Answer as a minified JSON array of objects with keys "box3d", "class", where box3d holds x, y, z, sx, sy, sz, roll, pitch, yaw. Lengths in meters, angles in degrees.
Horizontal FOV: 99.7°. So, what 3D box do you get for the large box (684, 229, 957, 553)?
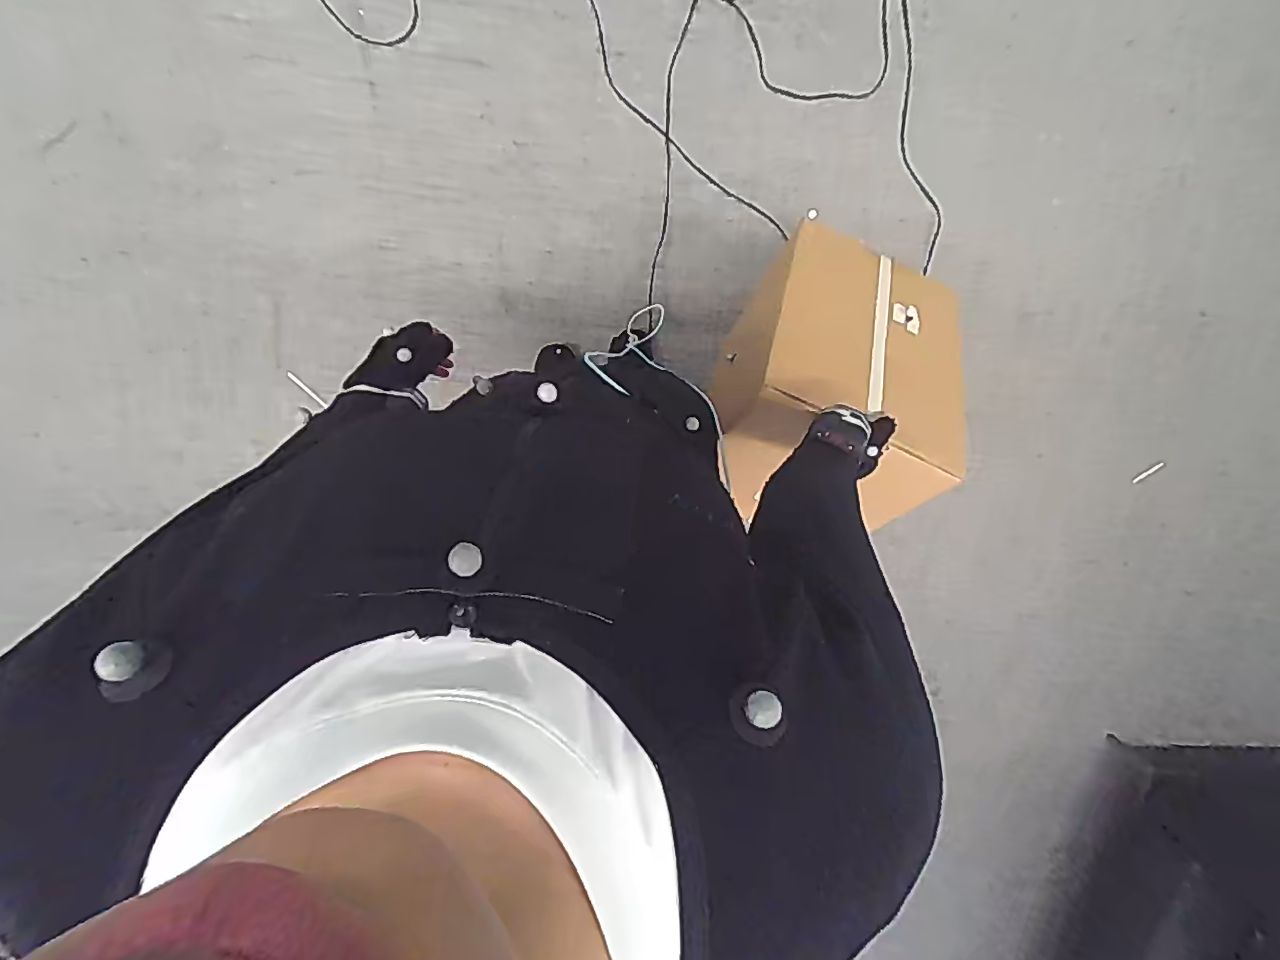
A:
[{"box3d":[0.311,-0.143,0.959,0.320,0.408,0.320,25,147,-7],"class":"large box"}]
